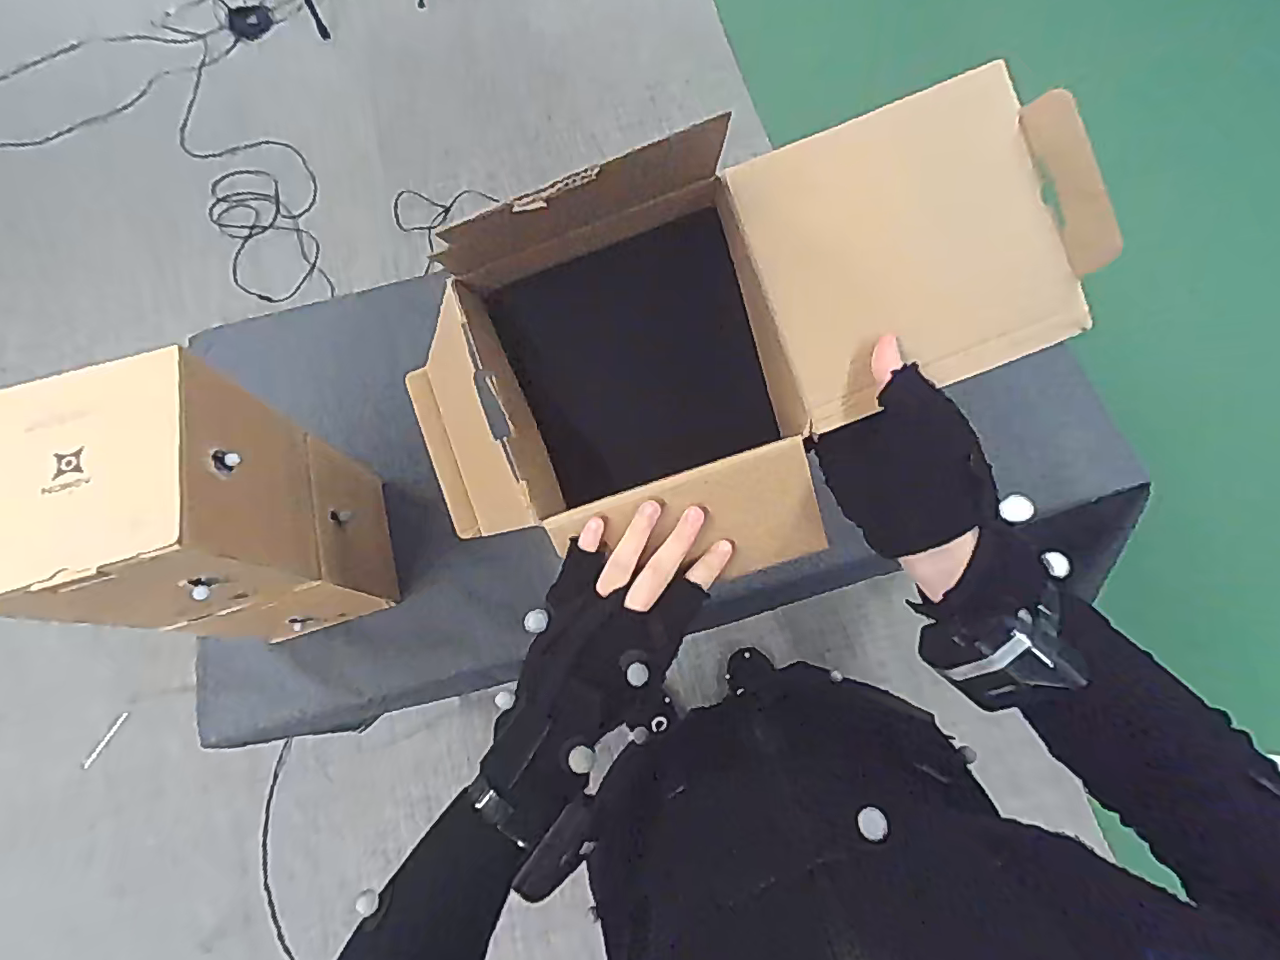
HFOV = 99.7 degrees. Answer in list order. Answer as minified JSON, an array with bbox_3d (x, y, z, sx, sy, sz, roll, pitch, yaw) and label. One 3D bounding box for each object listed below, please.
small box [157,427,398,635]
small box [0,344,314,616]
[{"bbox_3d":[-0.409,0.068,0.631,0.168,0.176,0.179,-18,71,-3],"label":"small box"},{"bbox_3d":[-0.418,0.015,0.478,0.168,0.176,0.179,-15,71,-3],"label":"small box"}]
